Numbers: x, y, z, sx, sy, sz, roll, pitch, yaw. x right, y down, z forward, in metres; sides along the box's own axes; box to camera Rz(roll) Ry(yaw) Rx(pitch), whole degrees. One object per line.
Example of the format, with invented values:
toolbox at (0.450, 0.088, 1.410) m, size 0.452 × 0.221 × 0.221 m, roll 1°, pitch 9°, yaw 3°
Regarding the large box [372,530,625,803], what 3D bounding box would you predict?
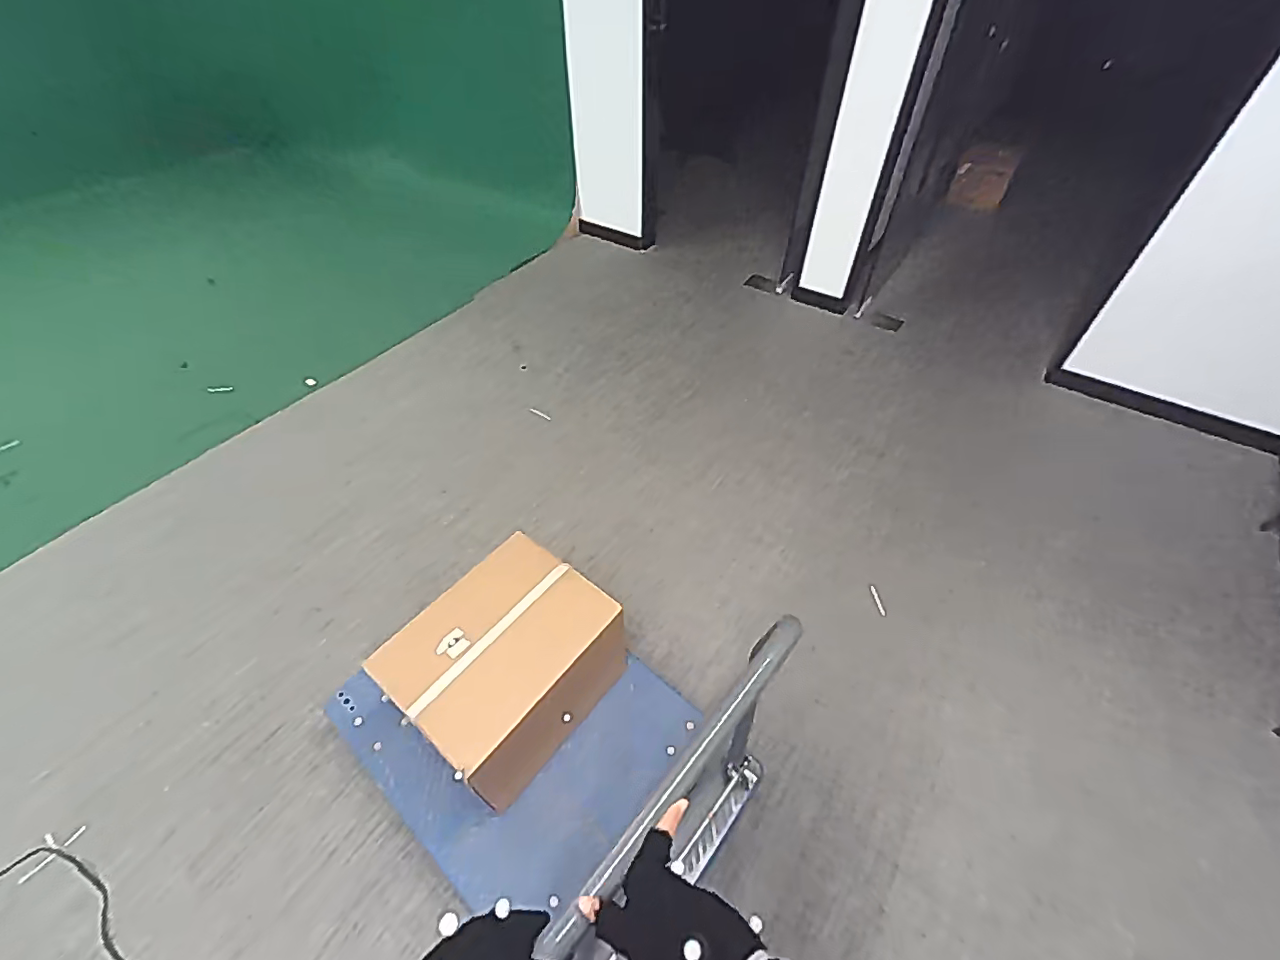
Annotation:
large box at (-0.271, 0.397, 1.177) m, size 0.320 × 0.320 × 0.408 m, roll 31°, pitch 57°, yaw 25°
